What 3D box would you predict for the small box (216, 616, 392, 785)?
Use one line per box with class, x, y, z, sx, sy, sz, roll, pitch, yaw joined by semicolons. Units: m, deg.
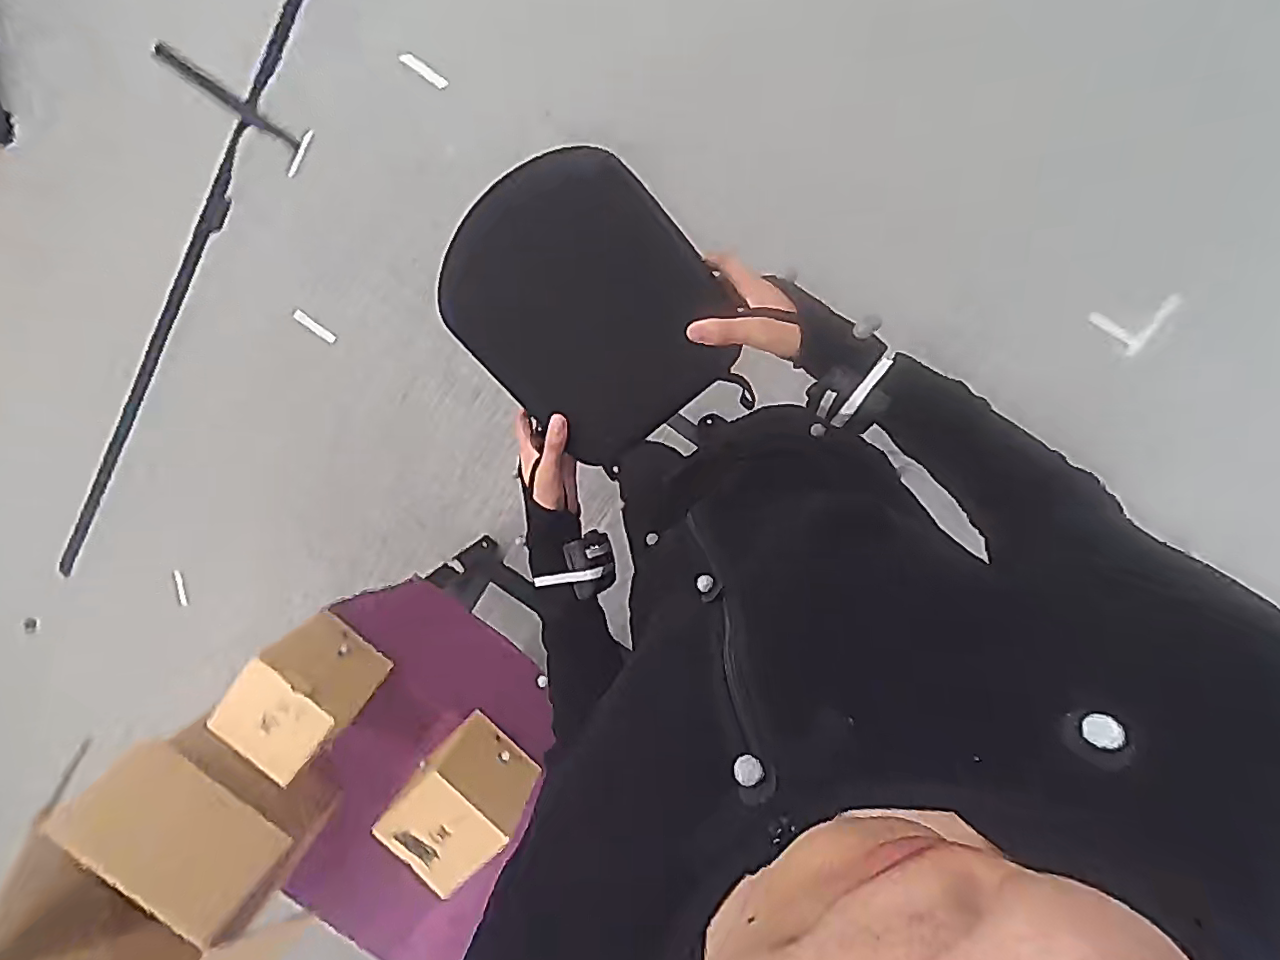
small box;-0.577;0.378;0.952;0.168;0.176;0.179;39;104;-2
